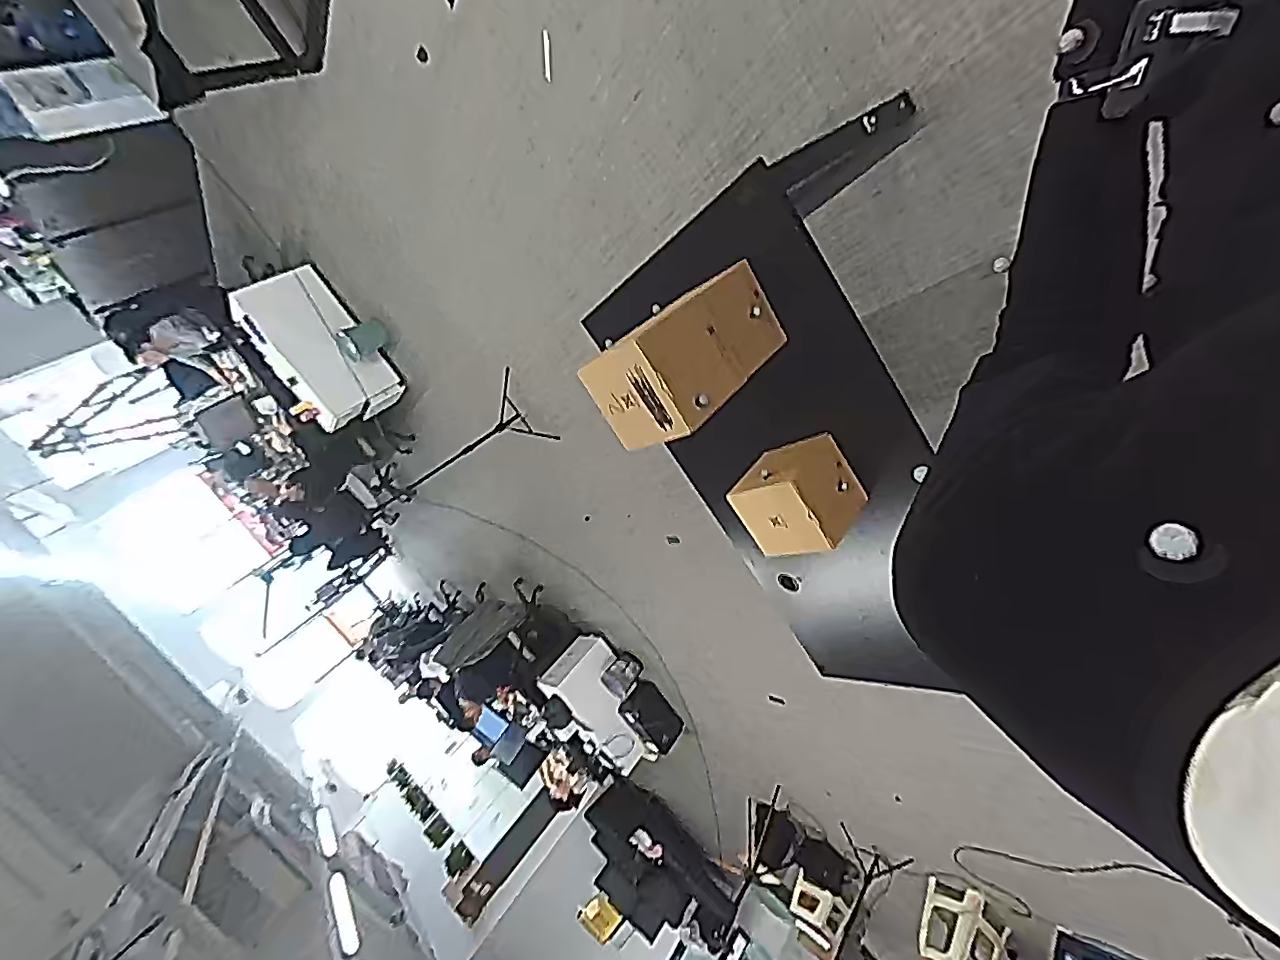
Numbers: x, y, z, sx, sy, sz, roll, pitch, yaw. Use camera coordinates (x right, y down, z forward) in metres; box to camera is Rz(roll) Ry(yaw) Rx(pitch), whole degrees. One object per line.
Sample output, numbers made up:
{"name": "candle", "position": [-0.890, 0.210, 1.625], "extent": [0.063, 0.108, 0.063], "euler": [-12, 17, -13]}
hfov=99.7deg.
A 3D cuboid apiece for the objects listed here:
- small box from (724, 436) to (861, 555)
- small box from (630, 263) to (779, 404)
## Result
{"name": "small box", "position": [0.312, 0.034, 1.103], "extent": [0.168, 0.176, 0.179], "euler": [54, 146, -11]}
{"name": "small box", "position": [0.121, -0.266, 0.994], "extent": [0.179, 0.176, 0.168], "euler": [-11, 118, 53]}
